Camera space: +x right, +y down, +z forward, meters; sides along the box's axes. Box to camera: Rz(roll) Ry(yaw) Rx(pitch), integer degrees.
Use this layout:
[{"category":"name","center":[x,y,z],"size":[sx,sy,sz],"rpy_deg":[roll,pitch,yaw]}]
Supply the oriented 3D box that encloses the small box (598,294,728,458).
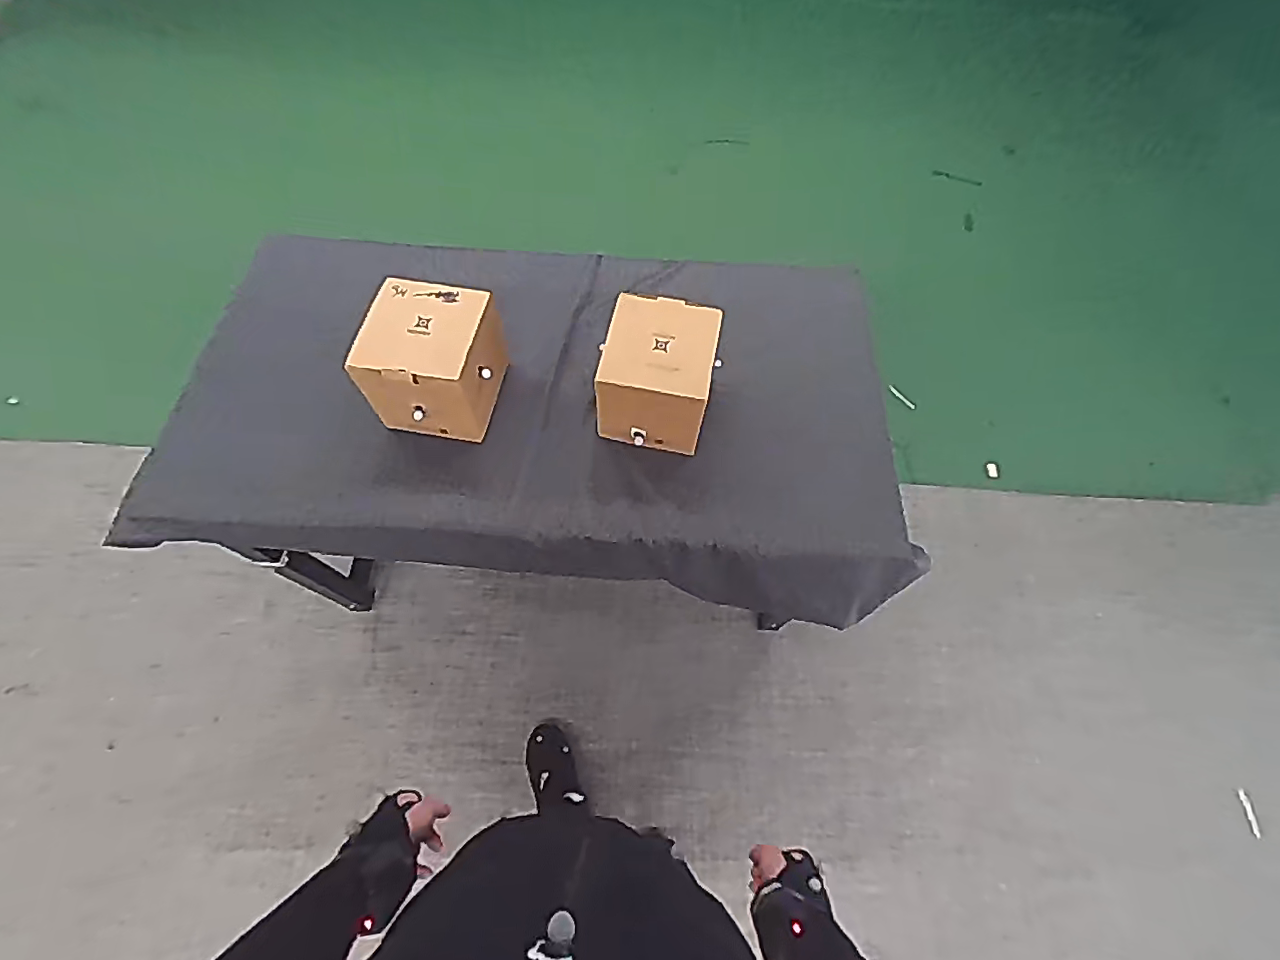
[{"category":"small box","center":[0.035,-0.161,0.865],"size":[0.168,0.176,0.179],"rpy_deg":[12,63,5]}]

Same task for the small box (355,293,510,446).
[{"category":"small box","center":[-0.319,-0.172,0.874],"size":[0.168,0.176,0.179],"rpy_deg":[6,62,1]}]
